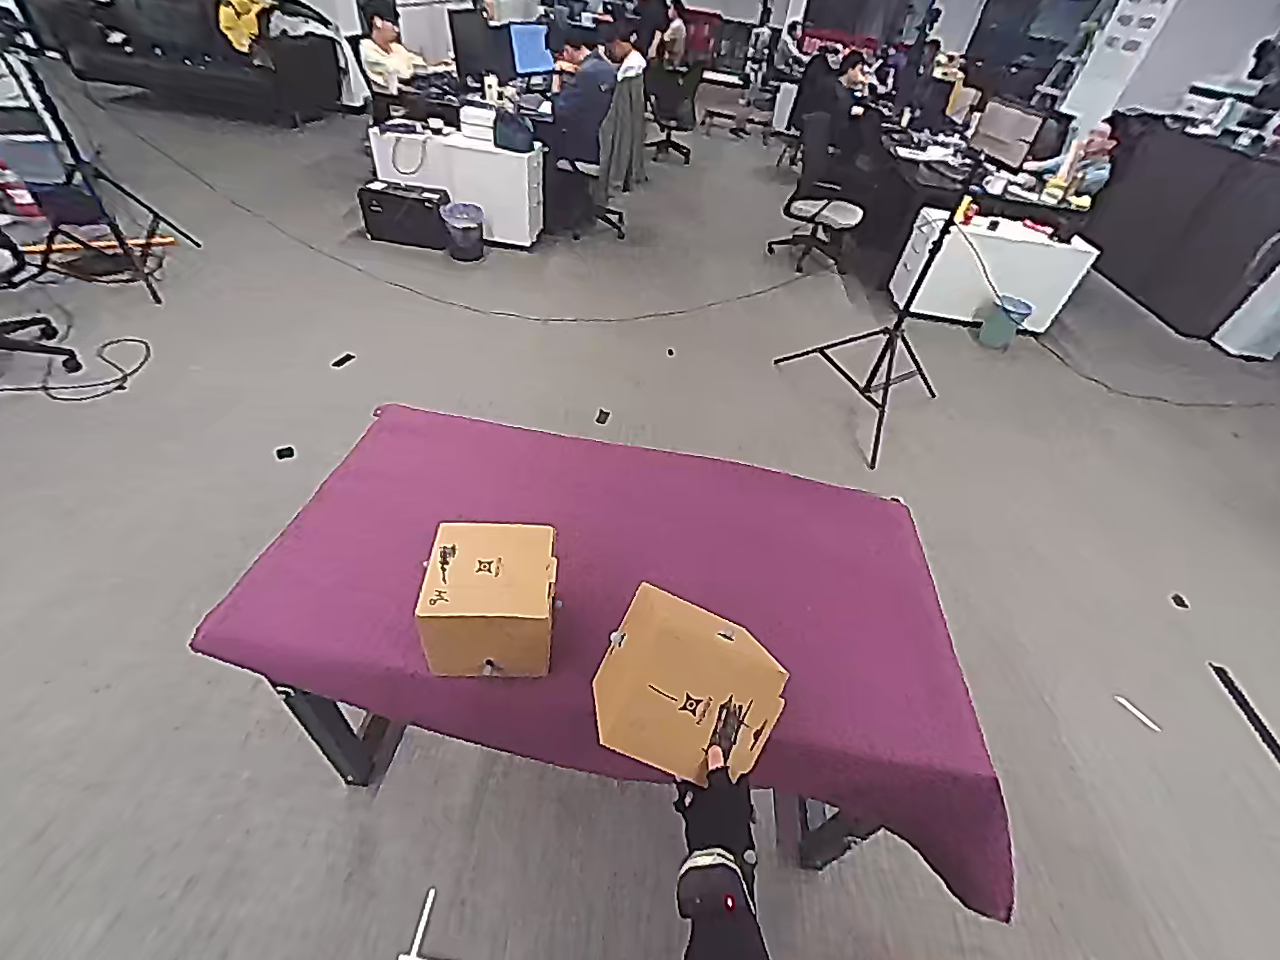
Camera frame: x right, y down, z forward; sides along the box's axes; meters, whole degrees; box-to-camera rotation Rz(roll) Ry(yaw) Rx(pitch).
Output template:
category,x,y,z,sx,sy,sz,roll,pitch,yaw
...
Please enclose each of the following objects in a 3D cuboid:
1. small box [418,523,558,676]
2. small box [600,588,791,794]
category,x,y,z,sx,sy,sz,roll,pitch,yaw
small box,-0.221,0.186,0.831,0.179,0.176,0.168,3,42,-8
small box,0.060,0.261,0.713,0.179,0.168,0.176,27,-1,-8
